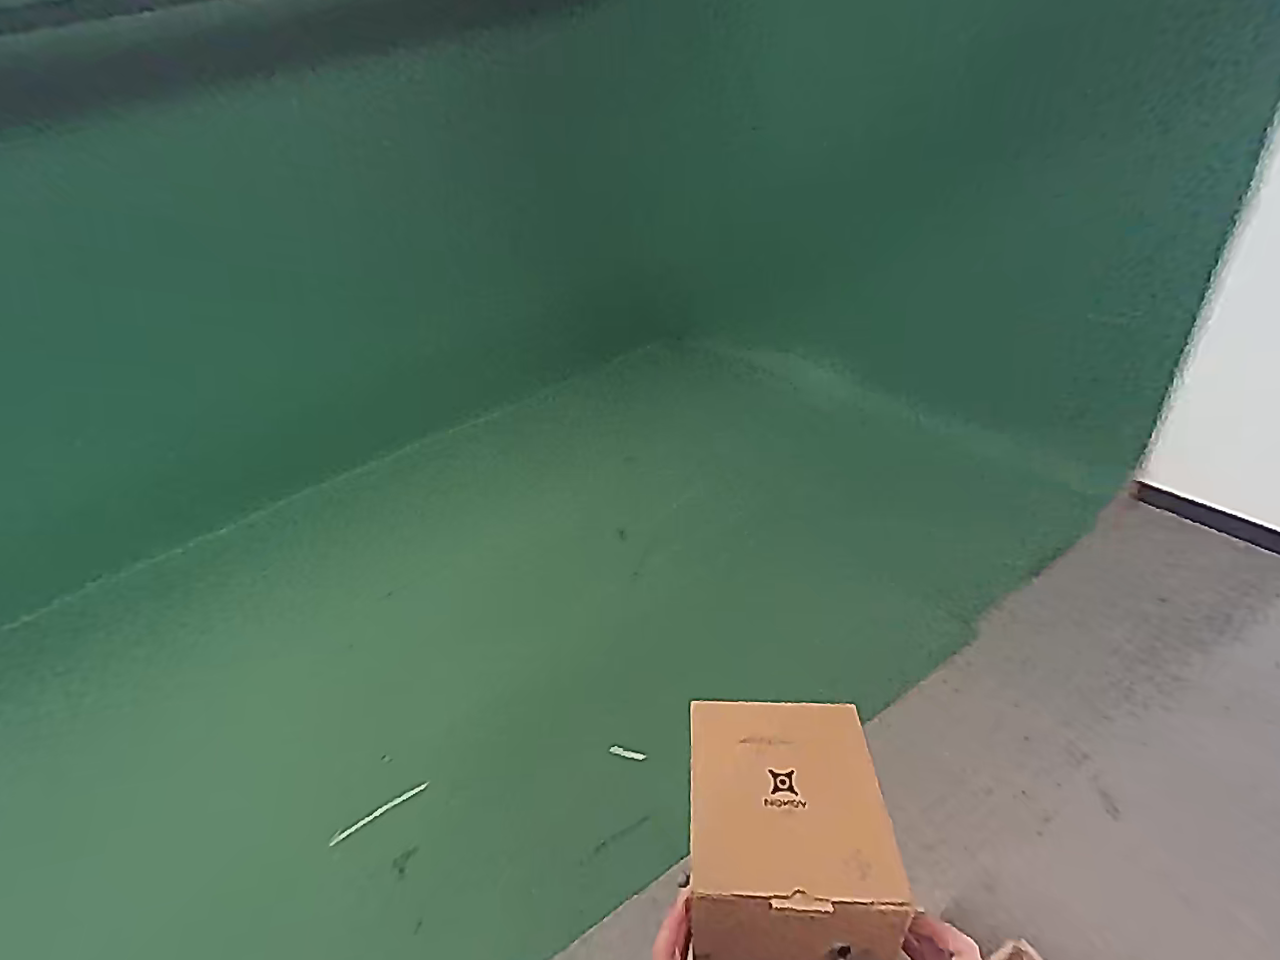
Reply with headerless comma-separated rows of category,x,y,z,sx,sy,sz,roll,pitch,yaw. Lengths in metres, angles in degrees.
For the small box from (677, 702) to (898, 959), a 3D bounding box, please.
small box,0.124,0.339,0.512,0.168,0.176,0.179,-2,29,6
